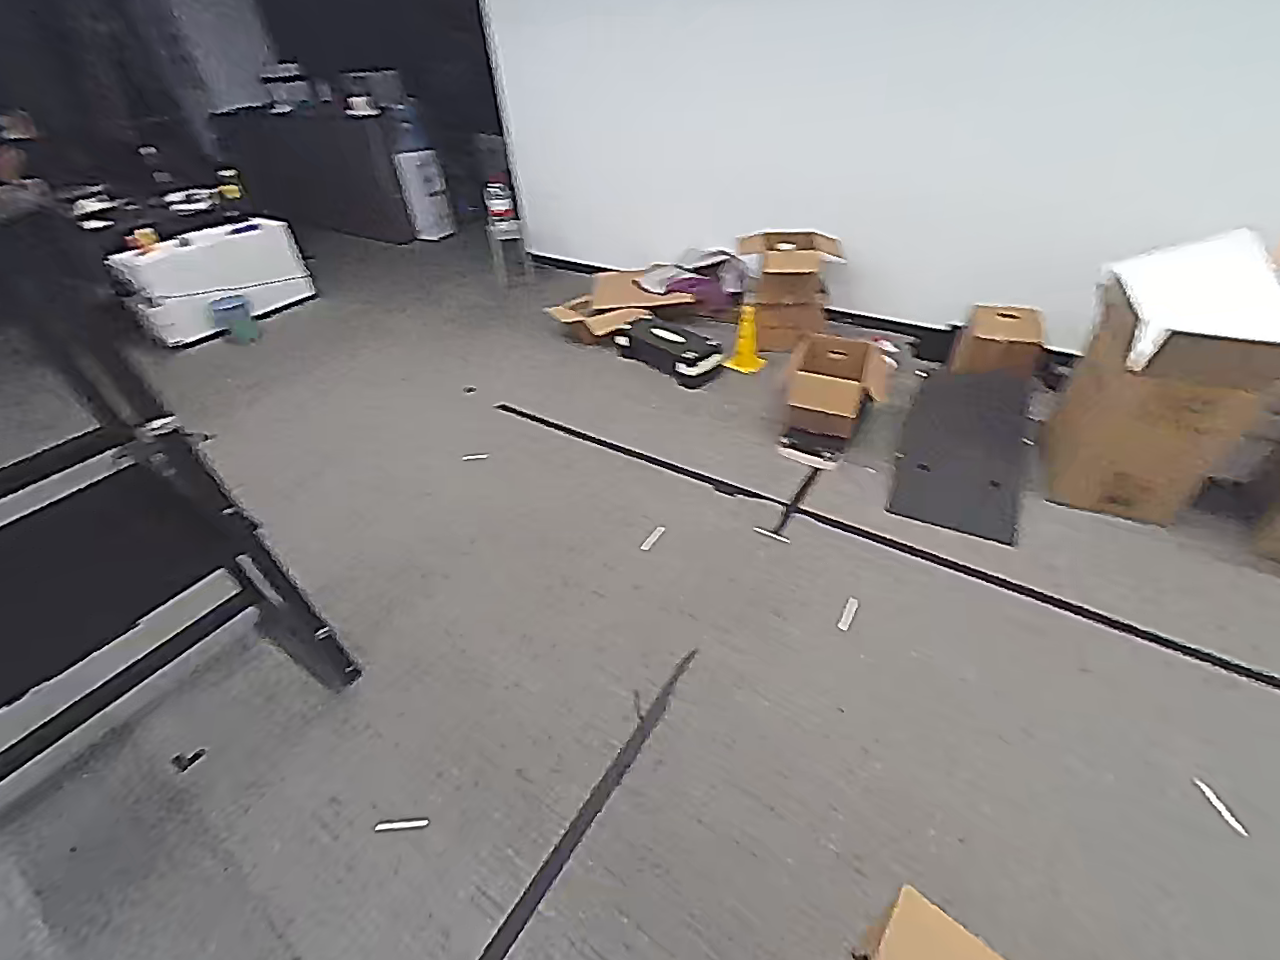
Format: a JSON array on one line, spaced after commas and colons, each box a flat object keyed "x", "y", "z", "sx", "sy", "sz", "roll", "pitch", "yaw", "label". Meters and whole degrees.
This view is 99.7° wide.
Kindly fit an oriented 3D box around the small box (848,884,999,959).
[{"x": 0.278, "y": 0.559, "z": 0.523, "sx": 0.168, "sy": 0.176, "sz": 0.179, "roll": 27, "pitch": 43, "yaw": 32, "label": "small box"}]
